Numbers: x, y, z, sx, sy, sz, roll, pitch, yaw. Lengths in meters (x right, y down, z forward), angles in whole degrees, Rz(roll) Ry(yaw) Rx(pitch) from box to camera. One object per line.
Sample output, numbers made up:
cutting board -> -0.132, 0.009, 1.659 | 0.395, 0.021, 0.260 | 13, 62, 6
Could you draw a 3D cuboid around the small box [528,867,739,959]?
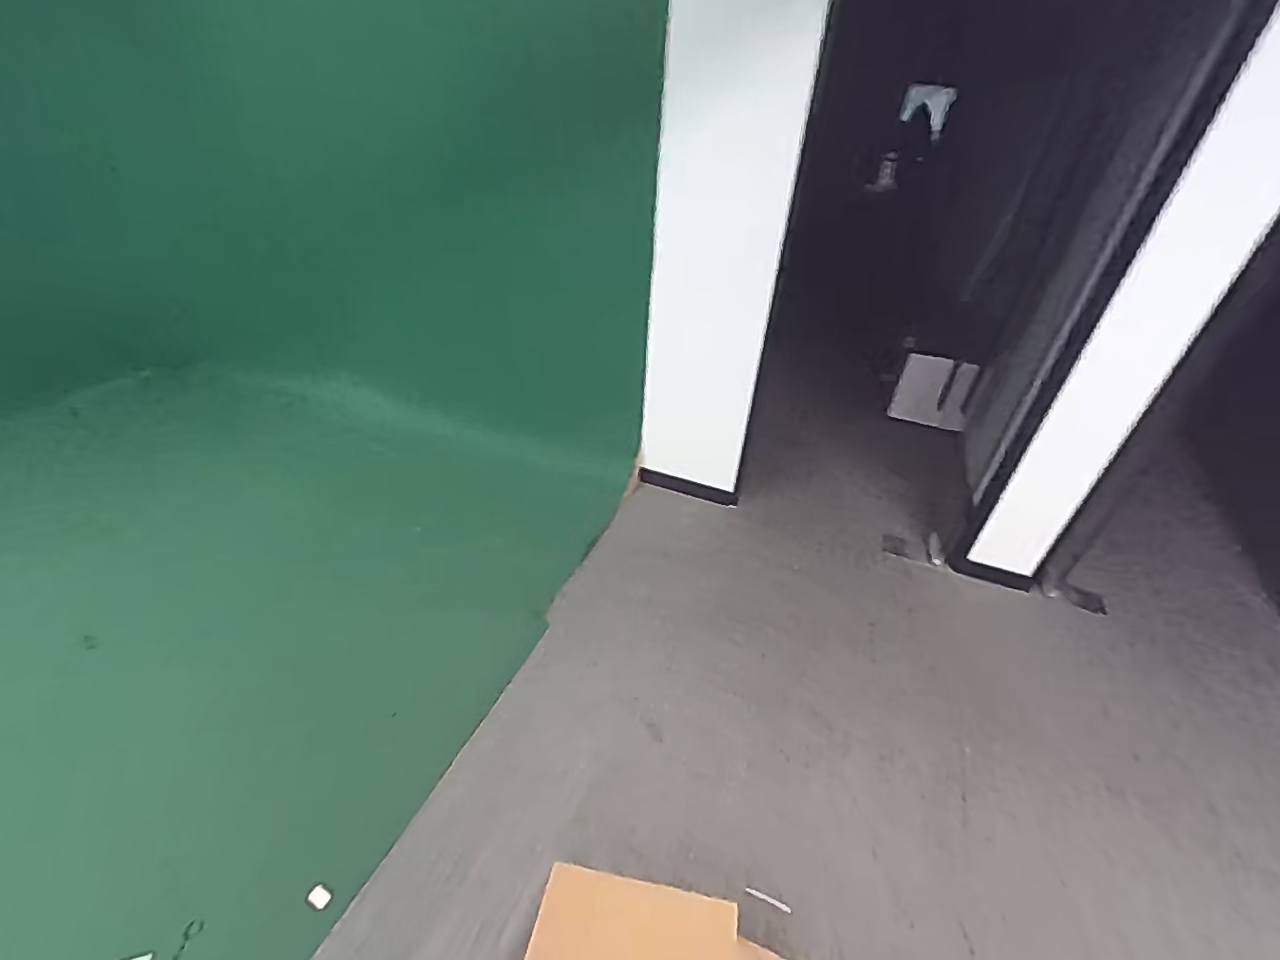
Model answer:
small box -> -0.015, 0.466, 0.437 | 0.168, 0.176, 0.179 | 6, 31, 9
